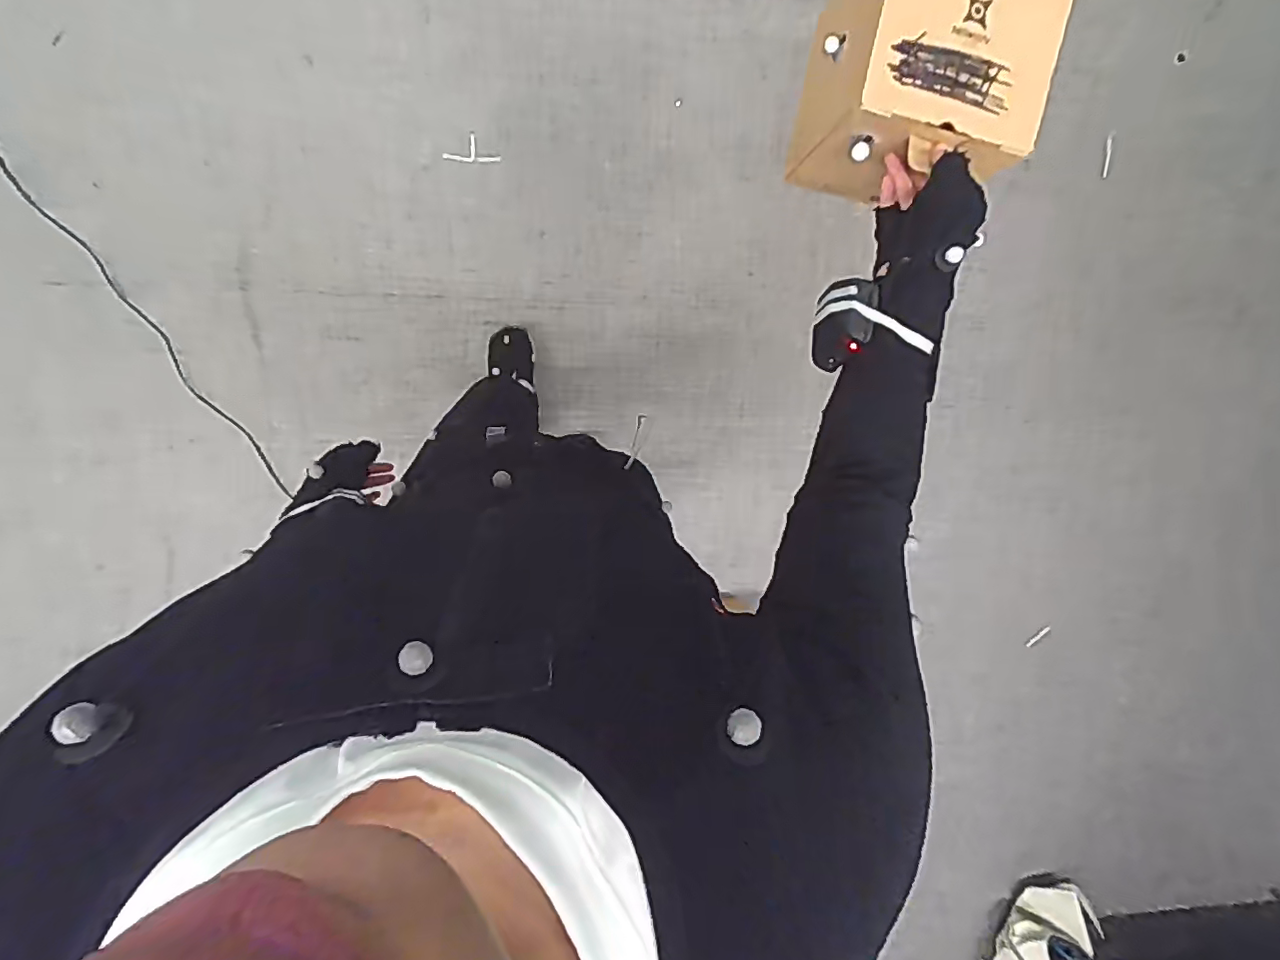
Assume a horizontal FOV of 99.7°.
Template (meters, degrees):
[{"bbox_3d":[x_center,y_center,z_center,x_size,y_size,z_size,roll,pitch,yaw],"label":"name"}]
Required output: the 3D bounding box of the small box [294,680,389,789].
[{"bbox_3d":[-0.687,0.575,1.237,0.168,0.176,0.179,2,98,-7],"label":"small box"}]

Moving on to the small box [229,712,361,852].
[{"bbox_3d":[-0.675,0.594,1.076,0.168,0.176,0.179,7,96,-8],"label":"small box"}]

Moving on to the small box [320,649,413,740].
[{"bbox_3d":[-0.702,0.549,1.401,0.168,0.176,0.179,-1,96,-4],"label":"small box"}]
